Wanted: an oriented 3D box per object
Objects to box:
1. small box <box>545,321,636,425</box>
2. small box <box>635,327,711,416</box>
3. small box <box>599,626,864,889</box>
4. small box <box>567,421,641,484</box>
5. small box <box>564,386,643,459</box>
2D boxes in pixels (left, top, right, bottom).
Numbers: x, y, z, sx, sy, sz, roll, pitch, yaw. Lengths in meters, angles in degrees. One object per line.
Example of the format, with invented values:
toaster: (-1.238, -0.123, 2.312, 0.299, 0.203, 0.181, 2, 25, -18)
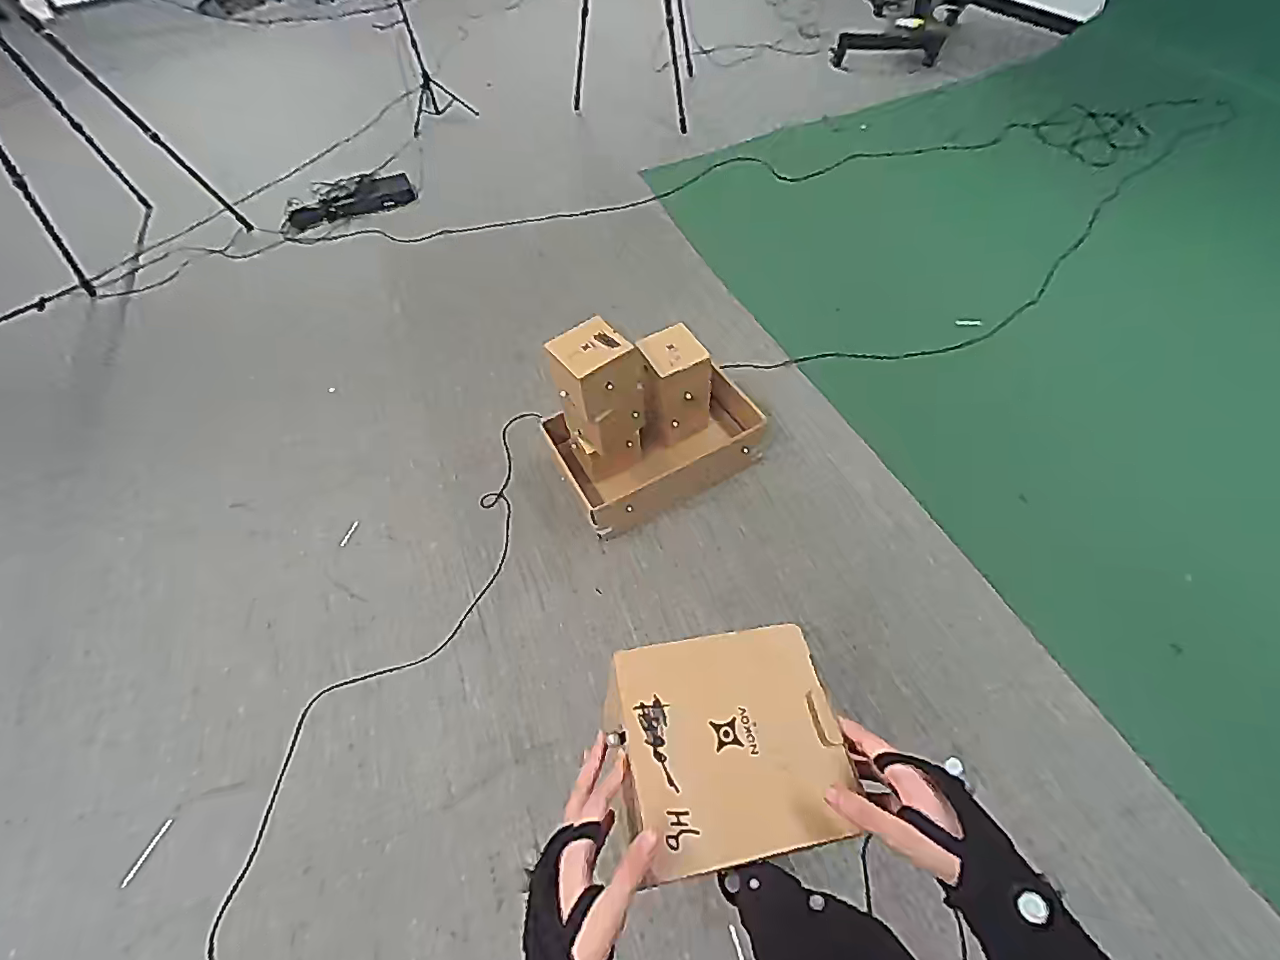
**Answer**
small box: (-0.125, -0.284, 1.440, 0.179, 0.176, 0.168, -34, 60, -17)
small box: (0.099, -0.327, 1.642, 0.168, 0.176, 0.179, -26, 58, -10)
small box: (0.062, 0.254, 0.497, 0.179, 0.176, 0.168, -5, 51, -12)
small box: (-0.110, -0.115, 1.720, 0.179, 0.176, 0.168, -26, 58, -13)
small box: (-0.106, -0.199, 1.580, 0.168, 0.176, 0.179, 38, 66, 25)
